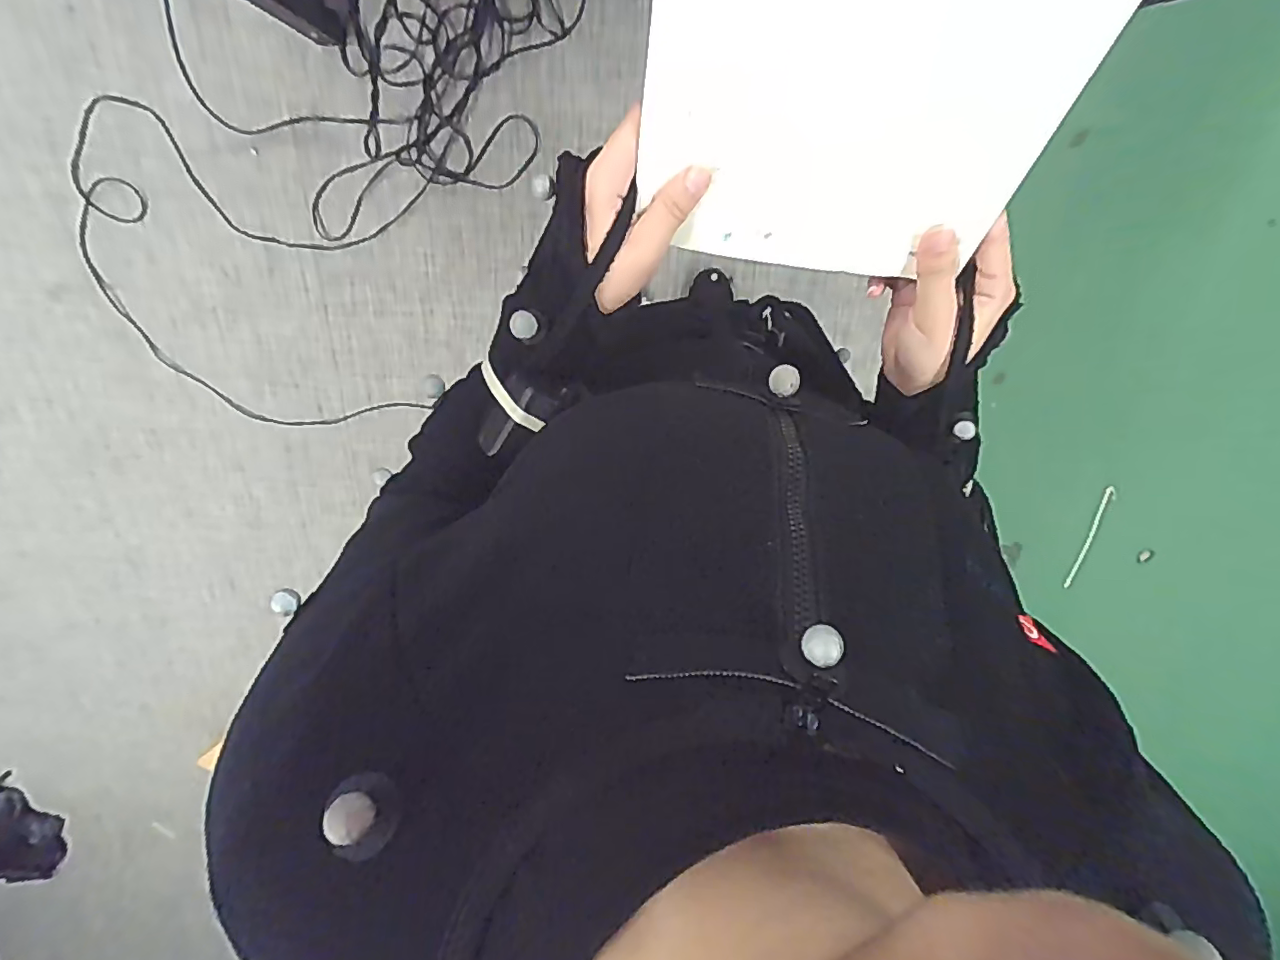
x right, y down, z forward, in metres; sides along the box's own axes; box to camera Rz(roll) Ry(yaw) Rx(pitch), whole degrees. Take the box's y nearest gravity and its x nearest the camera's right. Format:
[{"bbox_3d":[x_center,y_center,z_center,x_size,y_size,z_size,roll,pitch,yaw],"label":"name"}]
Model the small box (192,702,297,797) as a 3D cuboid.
[{"bbox_3d":[-1.227,0.840,1.695,0.179,0.176,0.168,-38,109,15],"label":"small box"}]
